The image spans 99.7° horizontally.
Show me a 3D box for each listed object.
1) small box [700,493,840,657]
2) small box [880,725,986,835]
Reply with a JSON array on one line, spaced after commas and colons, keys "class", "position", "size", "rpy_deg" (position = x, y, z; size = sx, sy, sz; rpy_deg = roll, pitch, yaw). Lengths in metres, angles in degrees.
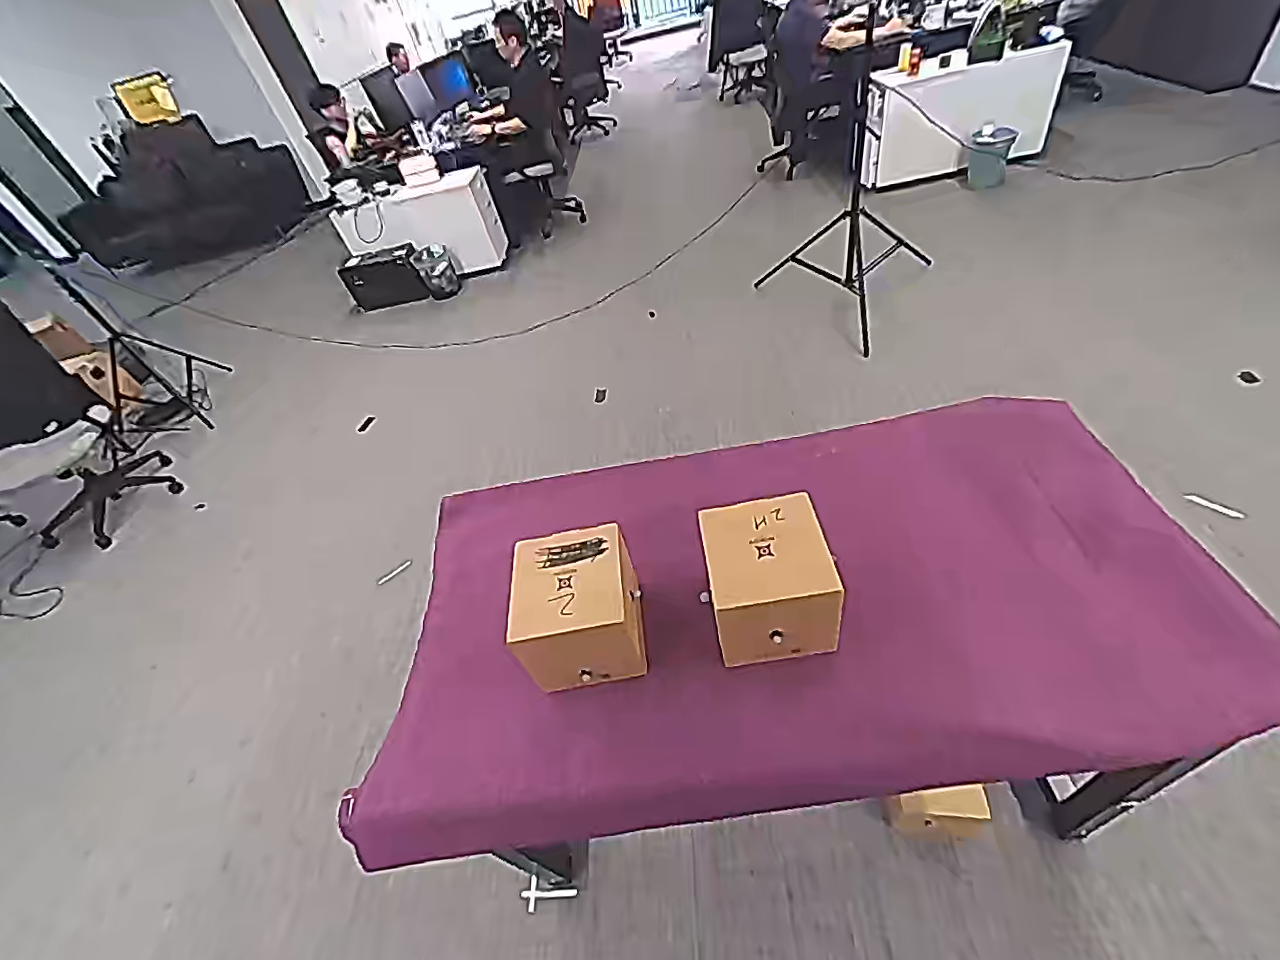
[{"class": "small box", "position": [0.190, 0.149, 0.809], "size": [0.168, 0.176, 0.179], "rpy_deg": [-9, 44, 5]}, {"class": "small box", "position": [0.644, 0.673, 1.210], "size": [0.168, 0.176, 0.179], "rpy_deg": [-3, 45, 14]}]
